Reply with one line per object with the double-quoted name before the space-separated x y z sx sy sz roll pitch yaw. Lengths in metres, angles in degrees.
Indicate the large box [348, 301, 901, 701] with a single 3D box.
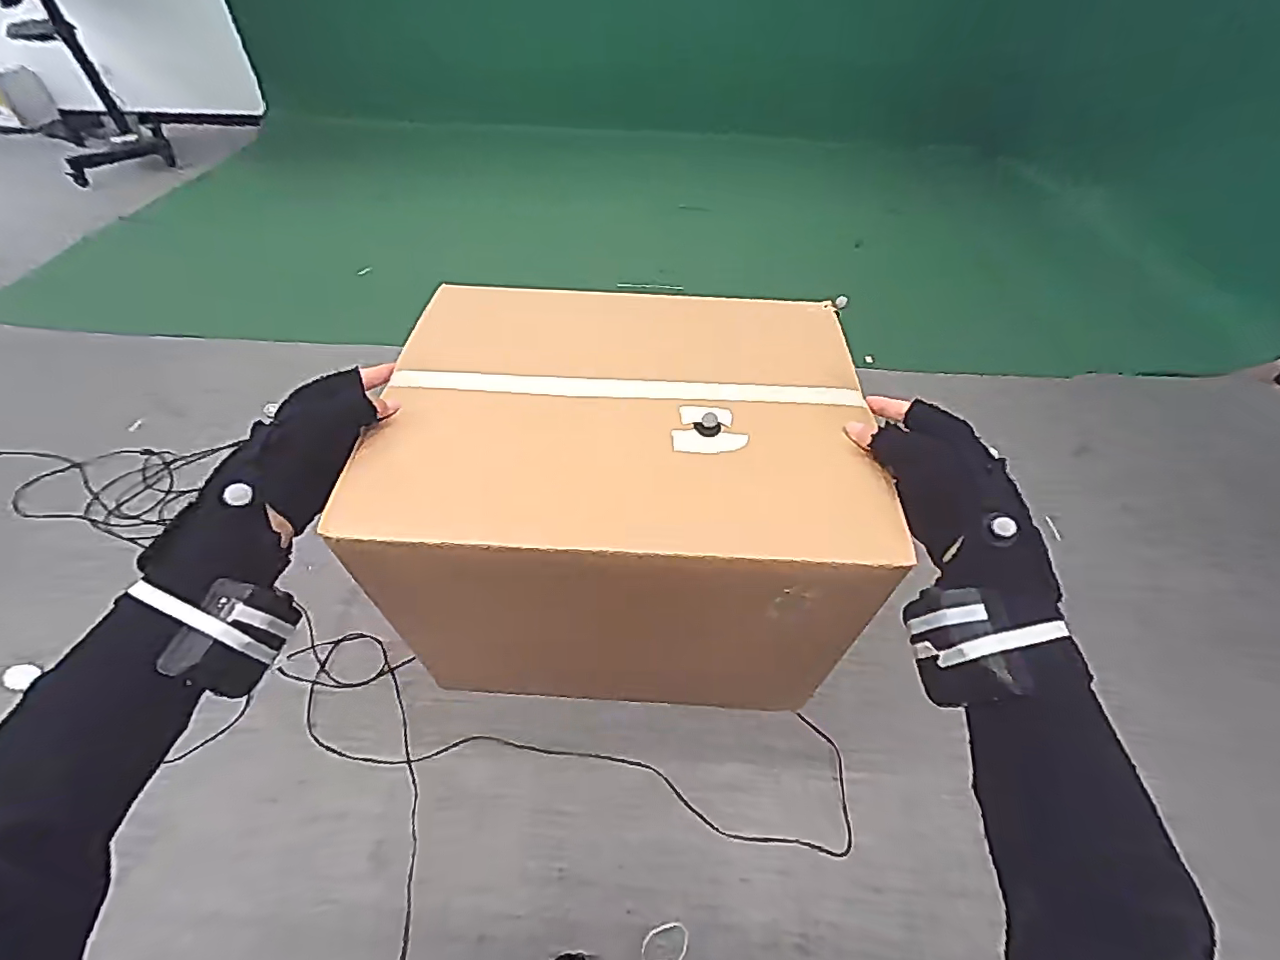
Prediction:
"large box" -0.012 0.030 0.590 0.408 0.320 0.320 3 50 0
